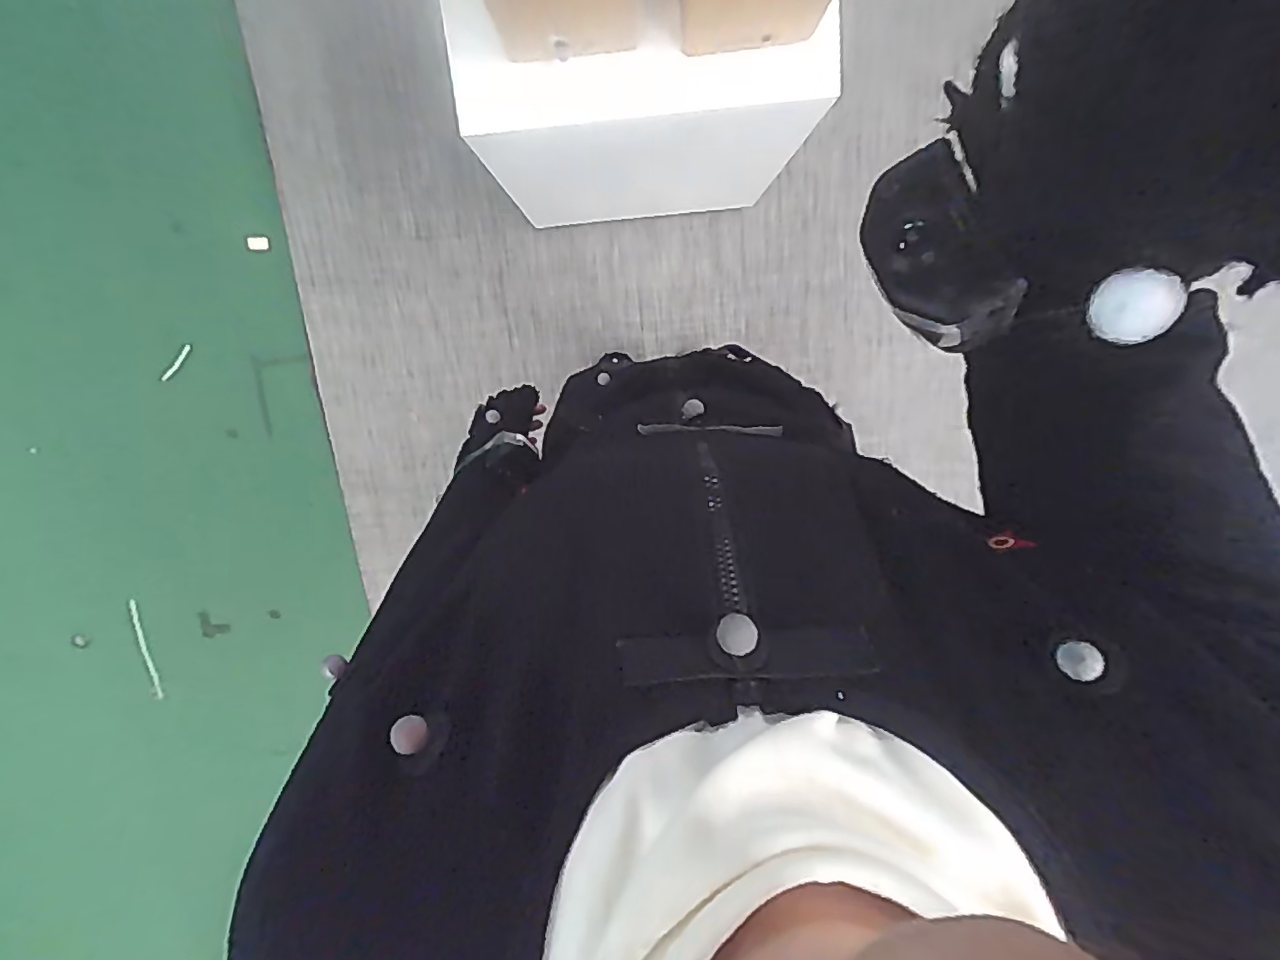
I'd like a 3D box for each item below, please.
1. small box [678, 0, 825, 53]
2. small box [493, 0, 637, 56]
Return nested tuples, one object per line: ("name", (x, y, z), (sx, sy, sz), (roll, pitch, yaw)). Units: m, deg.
("small box", (0.127, -0.627, 0.604), (0.168, 0.176, 0.179), (-5, 102, 1))
("small box", (-0.093, -0.615, 0.592), (0.168, 0.176, 0.179), (-7, 104, 2))
